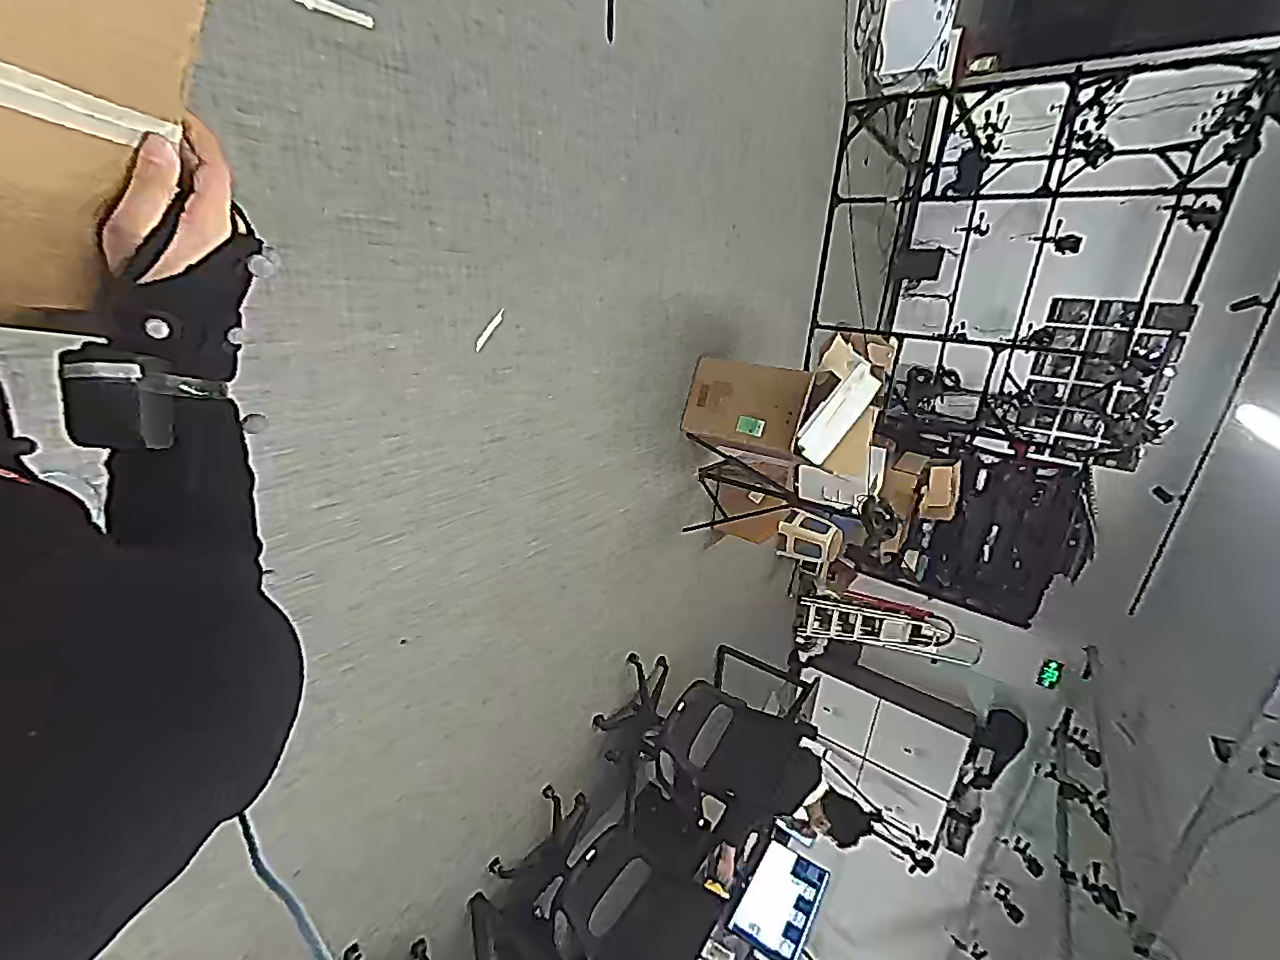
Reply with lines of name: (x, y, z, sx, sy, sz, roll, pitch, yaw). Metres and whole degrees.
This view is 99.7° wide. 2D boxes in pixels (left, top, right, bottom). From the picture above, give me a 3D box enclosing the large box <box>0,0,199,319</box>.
large box: (-0.479, -0.311, 0.209, 0.320, 0.320, 0.408, -45, 160, 29)
